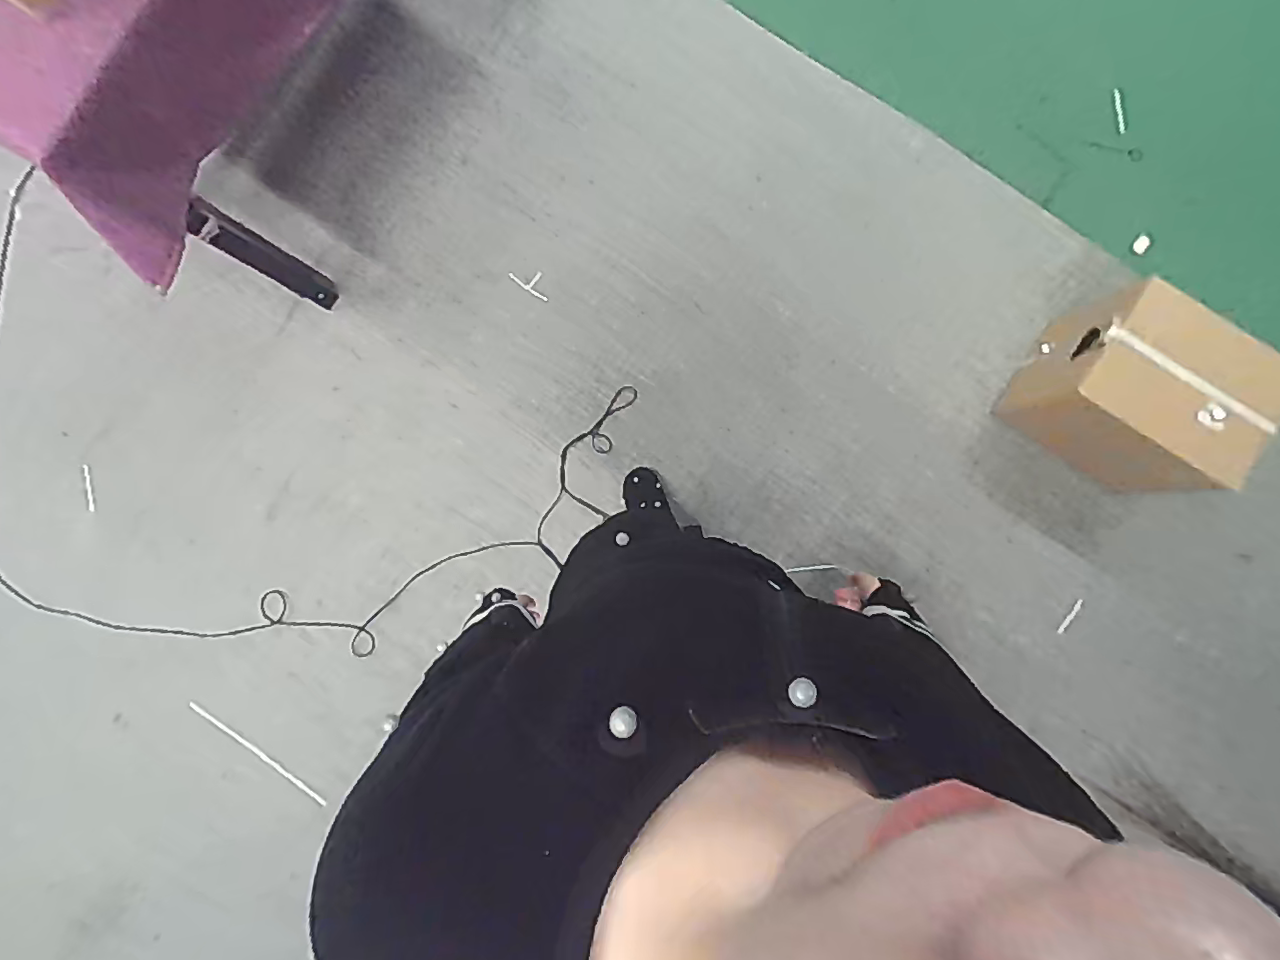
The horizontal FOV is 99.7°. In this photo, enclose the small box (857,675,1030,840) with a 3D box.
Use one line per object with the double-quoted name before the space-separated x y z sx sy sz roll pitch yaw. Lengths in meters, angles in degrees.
"small box" 0.501 0.456 0.923 0.179 0.176 0.168 24 88 3
